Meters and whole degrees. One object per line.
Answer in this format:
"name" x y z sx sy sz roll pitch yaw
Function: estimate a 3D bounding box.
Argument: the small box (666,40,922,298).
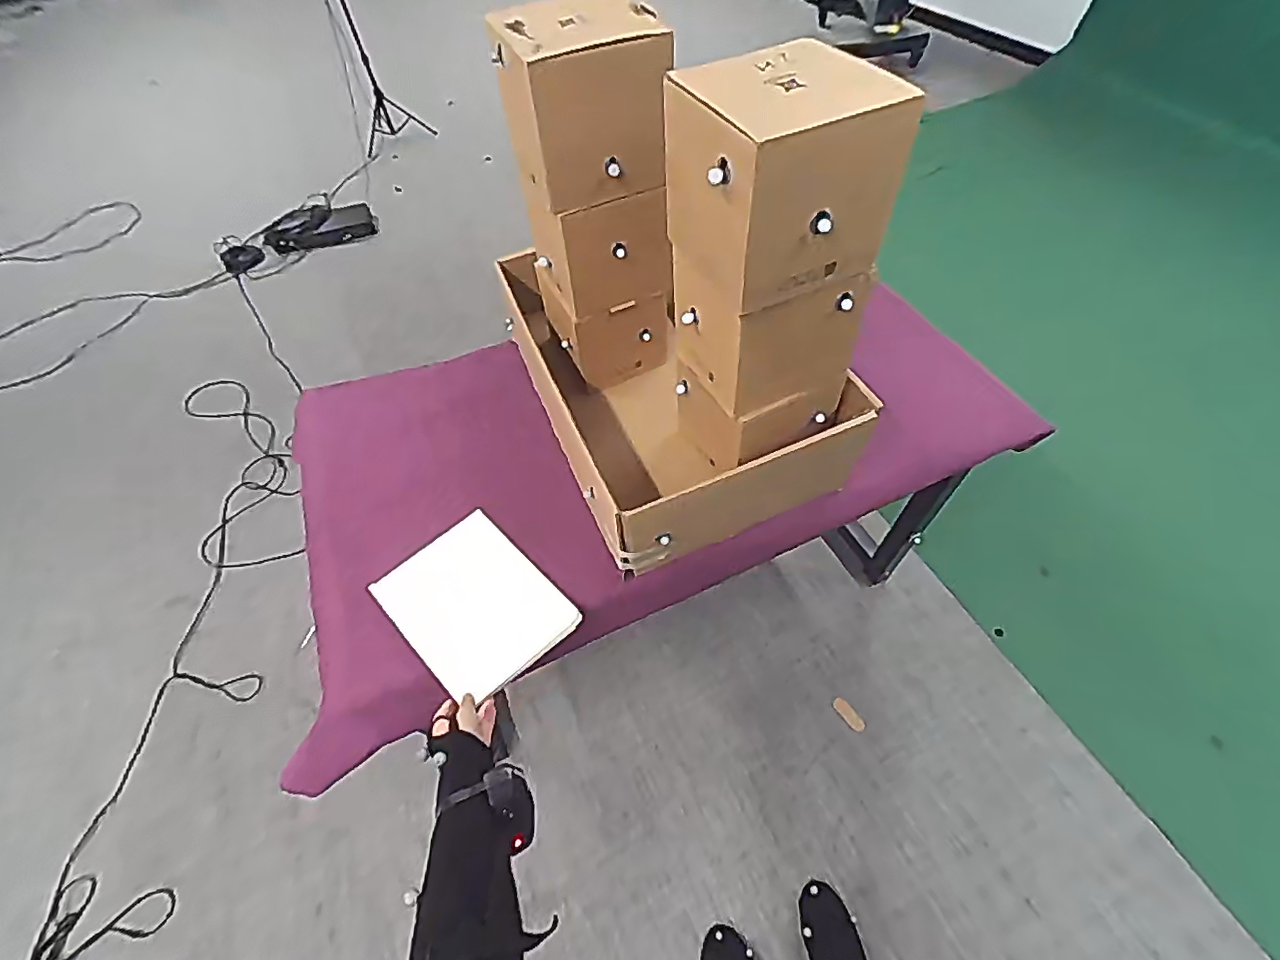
"small box" 0.138 -0.308 0.552 0.168 0.176 0.179 -21 55 -11

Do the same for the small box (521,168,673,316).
"small box" -0.060 -0.384 0.823 0.179 0.176 0.168 -24 58 -13

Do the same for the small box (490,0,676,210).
"small box" -0.069 -0.478 0.689 0.179 0.176 0.168 -21 57 -13

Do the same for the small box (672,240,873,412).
"small box" 0.154 -0.214 0.687 0.179 0.176 0.168 -21 55 -11
